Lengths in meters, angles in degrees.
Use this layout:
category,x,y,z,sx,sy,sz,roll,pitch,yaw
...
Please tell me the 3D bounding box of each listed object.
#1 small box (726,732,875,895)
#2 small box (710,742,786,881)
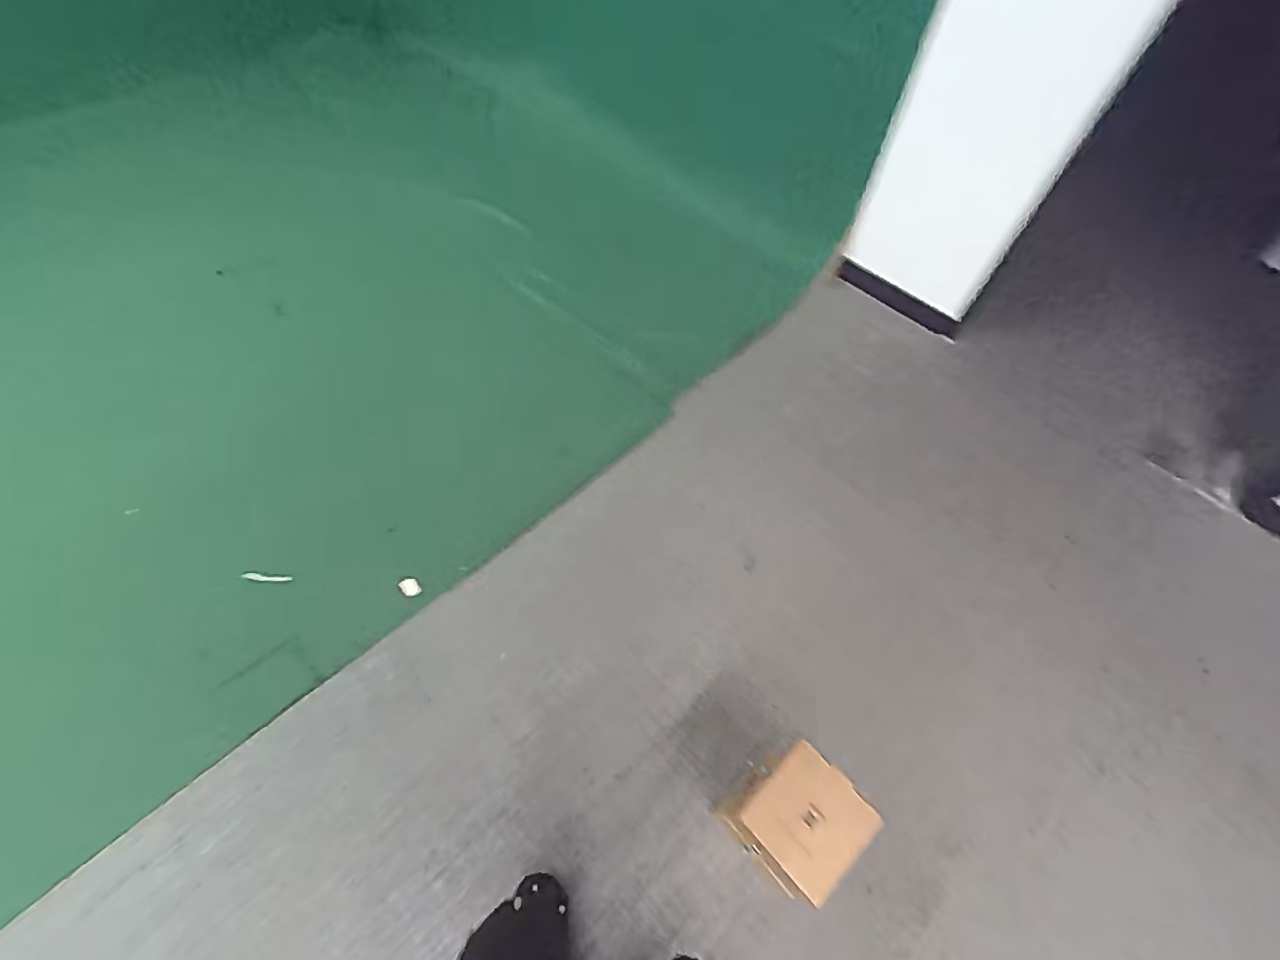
category,x,y,z,sx,sy,sz,roll,pitch,yaw
small box,0.272,0.582,0.961,0.179,0.176,0.168,-39,66,-20
small box,0.263,0.676,1.113,0.168,0.176,0.179,-37,67,-20
